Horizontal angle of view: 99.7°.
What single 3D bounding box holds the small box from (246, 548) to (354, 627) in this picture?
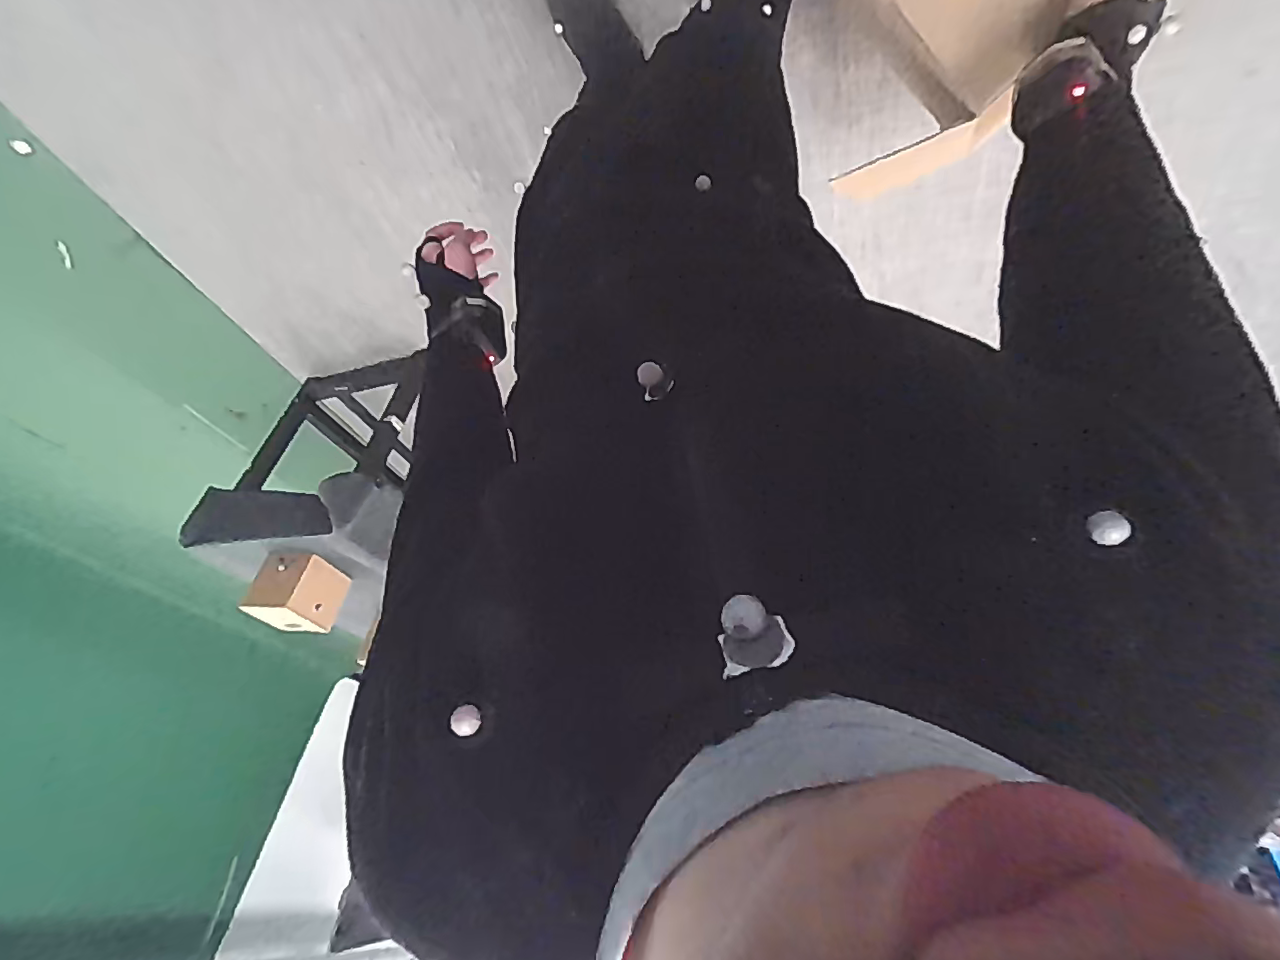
[{"bbox_3d":[-0.978,0.313,1.576,0.168,0.176,0.179,-2,143,15],"label":"small box"}]
